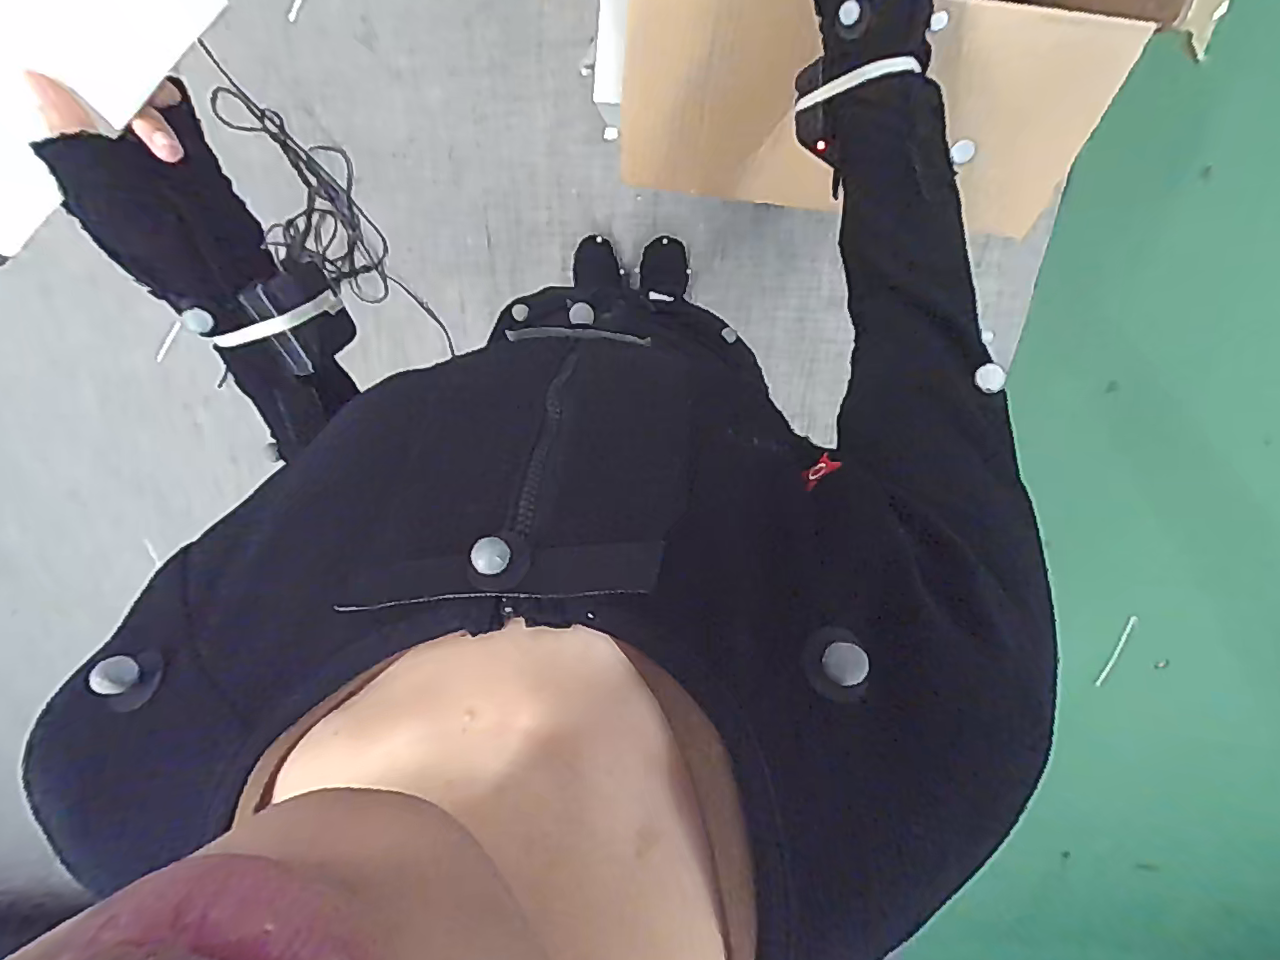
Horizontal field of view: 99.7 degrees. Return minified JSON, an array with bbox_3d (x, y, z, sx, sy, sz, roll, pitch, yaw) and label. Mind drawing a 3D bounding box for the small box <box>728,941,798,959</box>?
[{"bbox_3d":[0.300,1.235,1.279,0.168,0.176,0.179,0,116,1],"label":"small box"}]
